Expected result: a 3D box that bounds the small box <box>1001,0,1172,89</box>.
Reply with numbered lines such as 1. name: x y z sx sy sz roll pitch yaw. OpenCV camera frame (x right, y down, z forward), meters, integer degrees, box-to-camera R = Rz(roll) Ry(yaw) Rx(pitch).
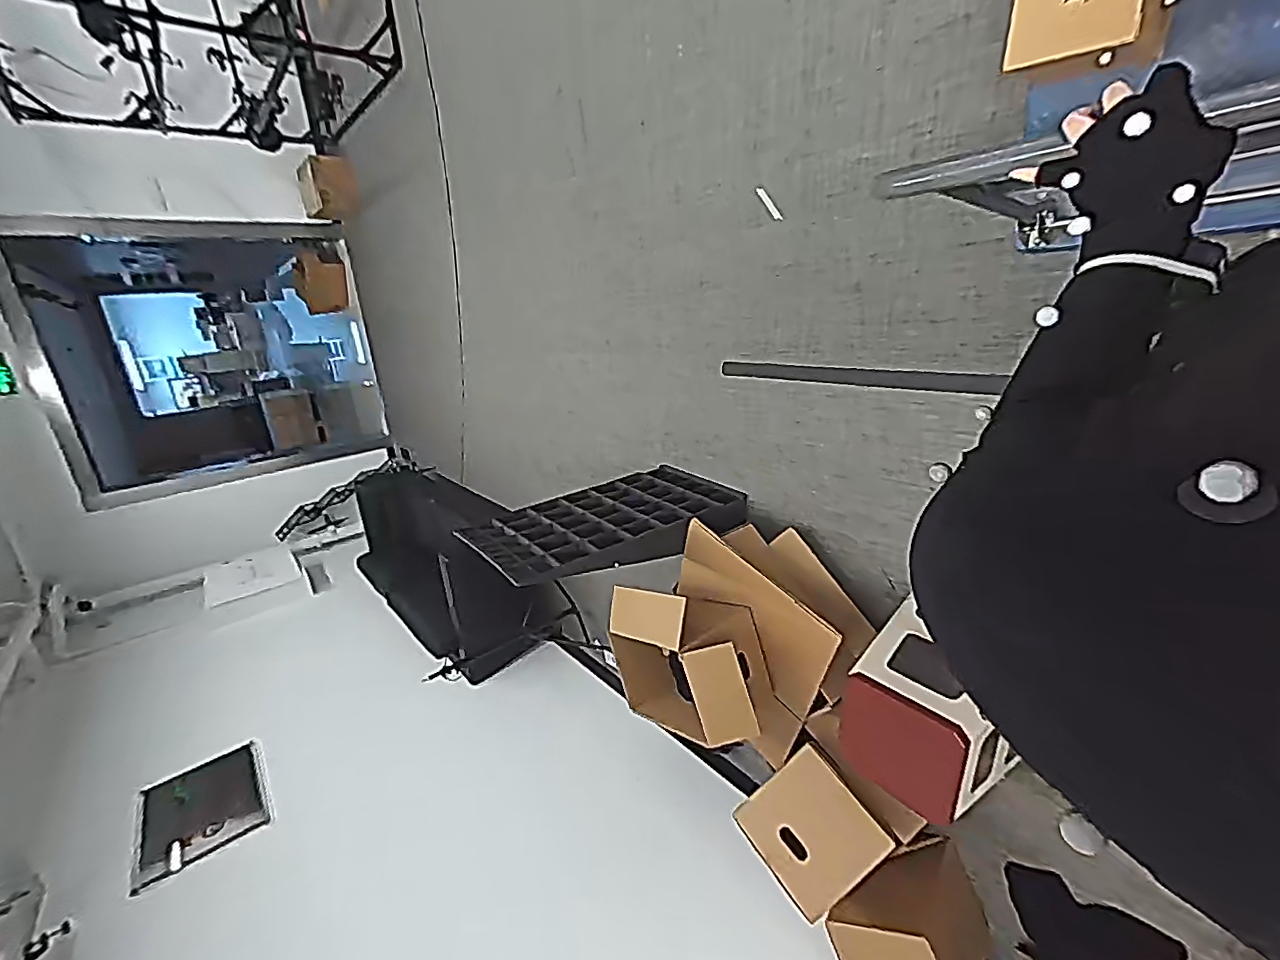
1. small box: 0.721 -0.754 0.865 0.179 0.176 0.168 21 120 45
